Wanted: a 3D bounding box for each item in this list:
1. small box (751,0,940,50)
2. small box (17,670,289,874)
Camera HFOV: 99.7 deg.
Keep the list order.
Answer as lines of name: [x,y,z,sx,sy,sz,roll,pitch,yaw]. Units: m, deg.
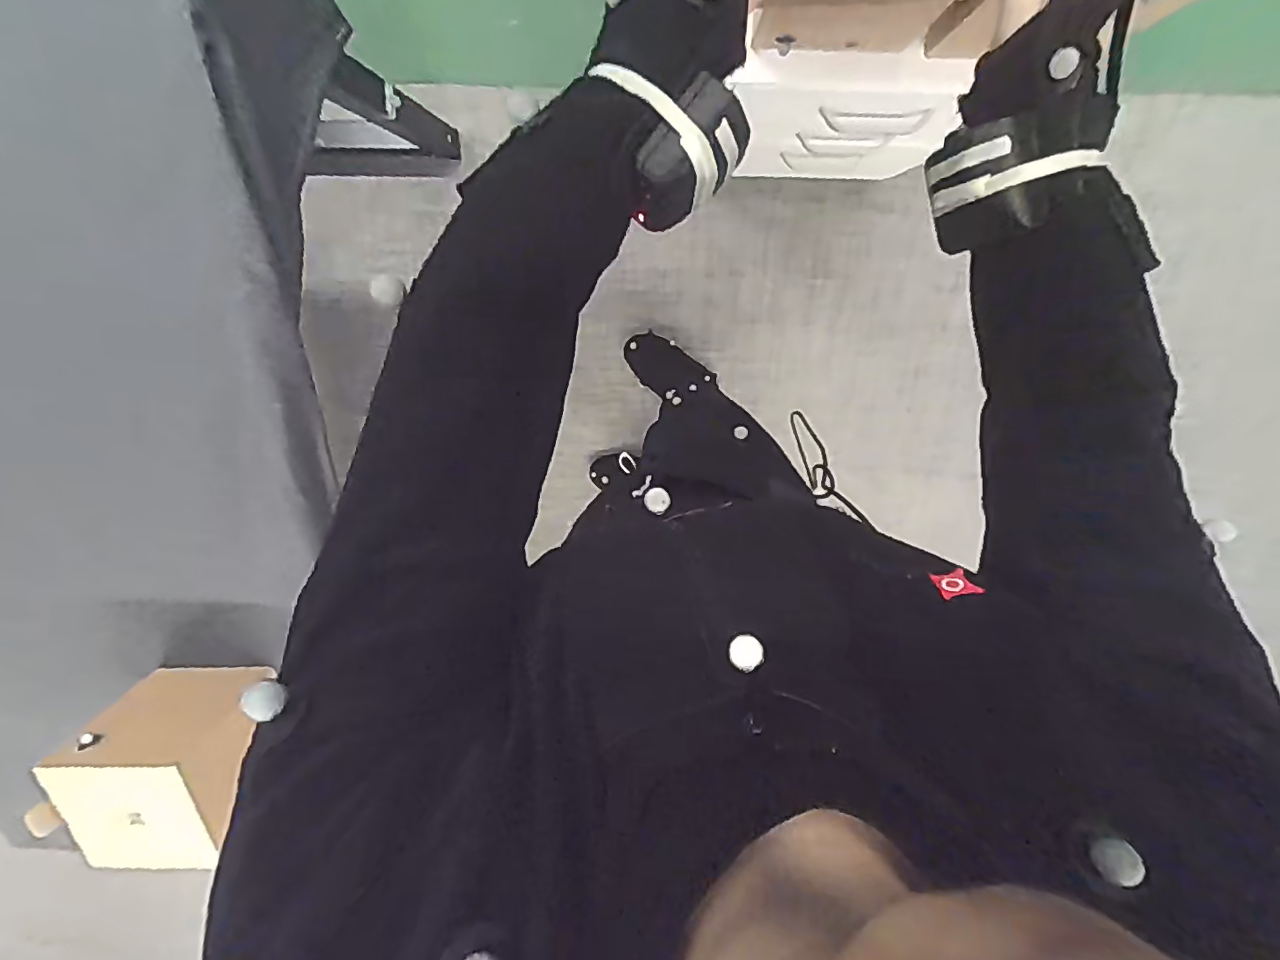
small box: [0.198,-0.515,0.477,0.168,0.176,0.179,3,109,0]
small box: [-0.588,0.361,0.688,0.179,0.176,0.168,-2,110,4]
